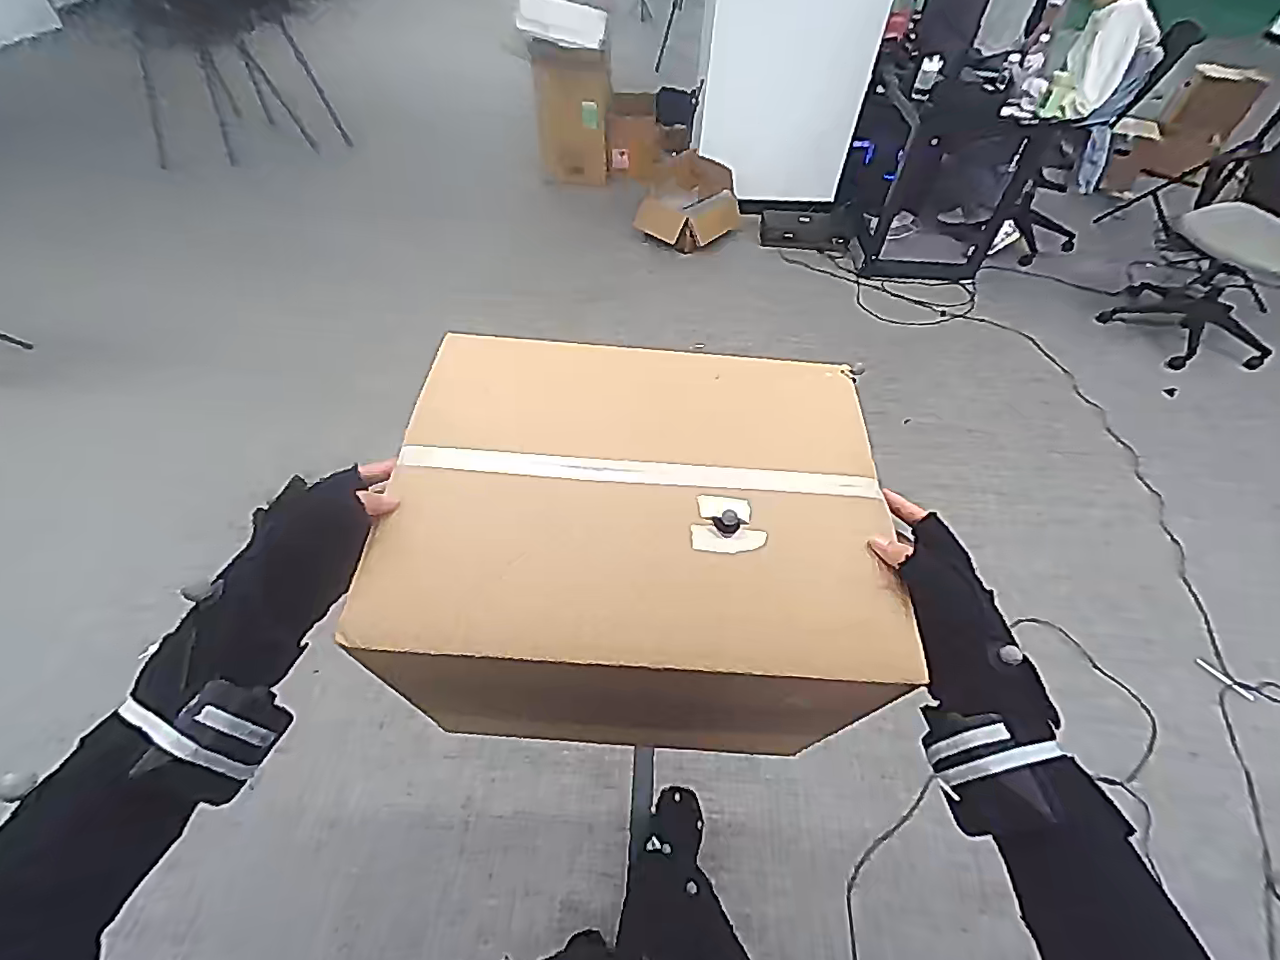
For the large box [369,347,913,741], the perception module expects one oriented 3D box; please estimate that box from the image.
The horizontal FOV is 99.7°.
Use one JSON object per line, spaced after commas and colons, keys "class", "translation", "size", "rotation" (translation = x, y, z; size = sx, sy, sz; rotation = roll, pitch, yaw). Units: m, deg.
{"class": "large box", "translation": [-0.003, 0.086, 0.593], "size": [0.408, 0.320, 0.320], "rotation": [4, 55, -2]}
